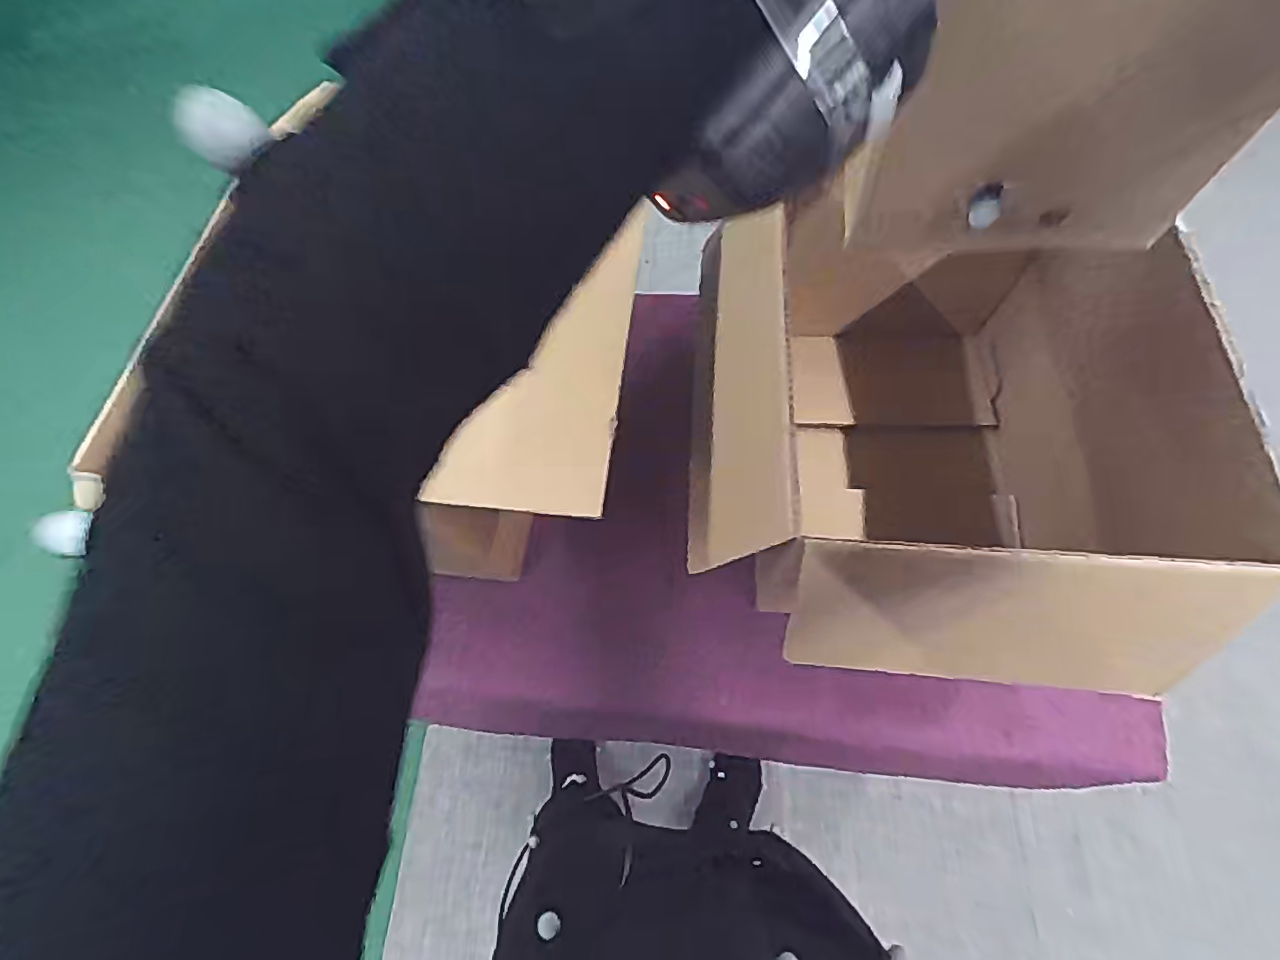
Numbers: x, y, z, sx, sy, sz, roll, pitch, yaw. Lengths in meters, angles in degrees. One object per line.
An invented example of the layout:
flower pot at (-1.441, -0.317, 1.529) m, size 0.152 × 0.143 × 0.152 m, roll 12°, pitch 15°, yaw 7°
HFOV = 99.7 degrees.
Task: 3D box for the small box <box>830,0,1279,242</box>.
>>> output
small box at (0.194, -0.250, 0.273) m, size 0.168 × 0.176 × 0.179 m, roll 4°, pitch 72°, yaw 13°
